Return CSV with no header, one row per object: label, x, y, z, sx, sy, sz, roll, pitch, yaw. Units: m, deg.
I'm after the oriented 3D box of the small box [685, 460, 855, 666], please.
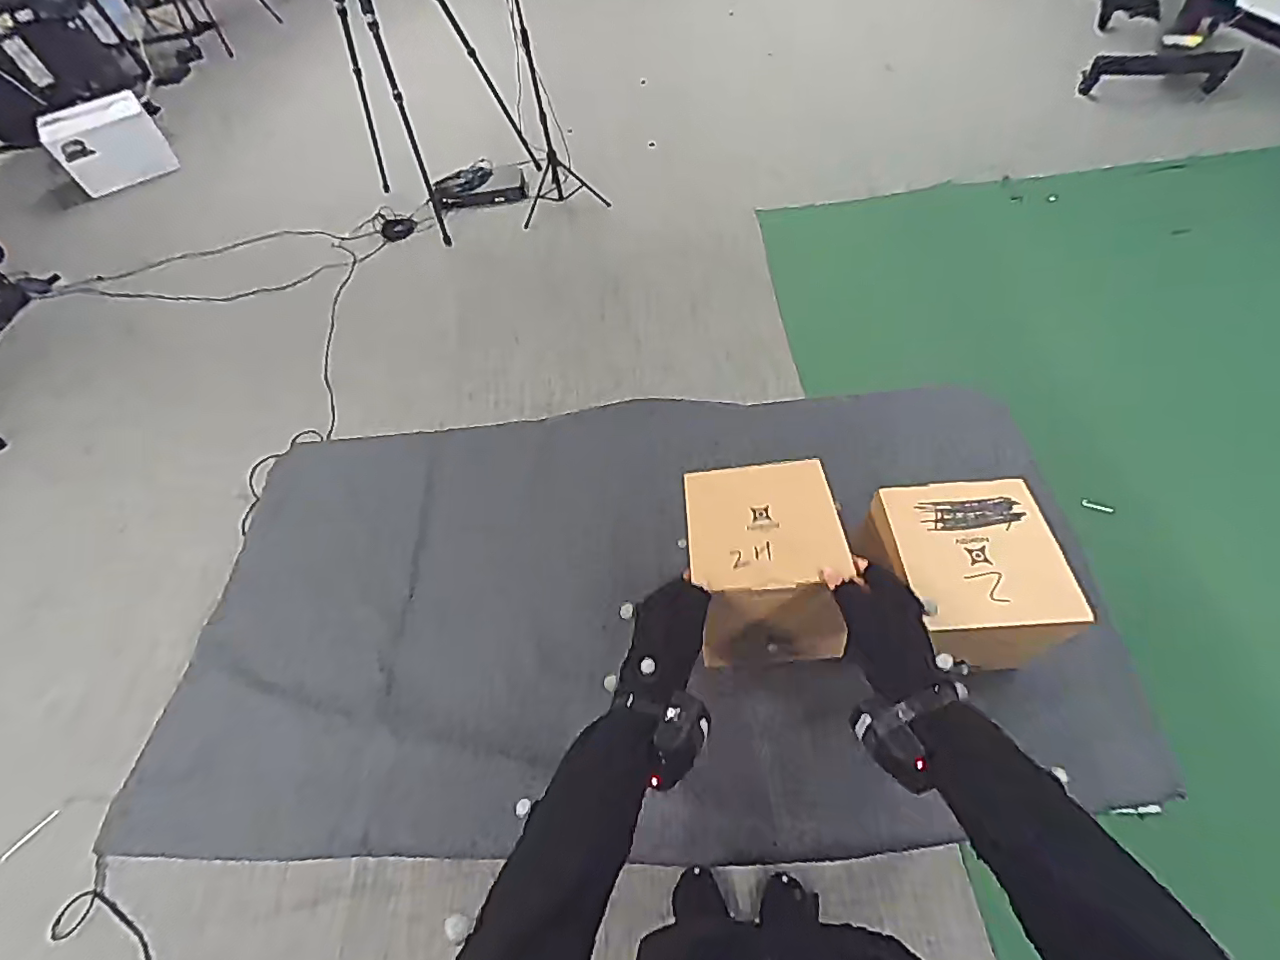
small box,0.146,0.101,0.654,0.168,0.176,0.179,-7,44,8
